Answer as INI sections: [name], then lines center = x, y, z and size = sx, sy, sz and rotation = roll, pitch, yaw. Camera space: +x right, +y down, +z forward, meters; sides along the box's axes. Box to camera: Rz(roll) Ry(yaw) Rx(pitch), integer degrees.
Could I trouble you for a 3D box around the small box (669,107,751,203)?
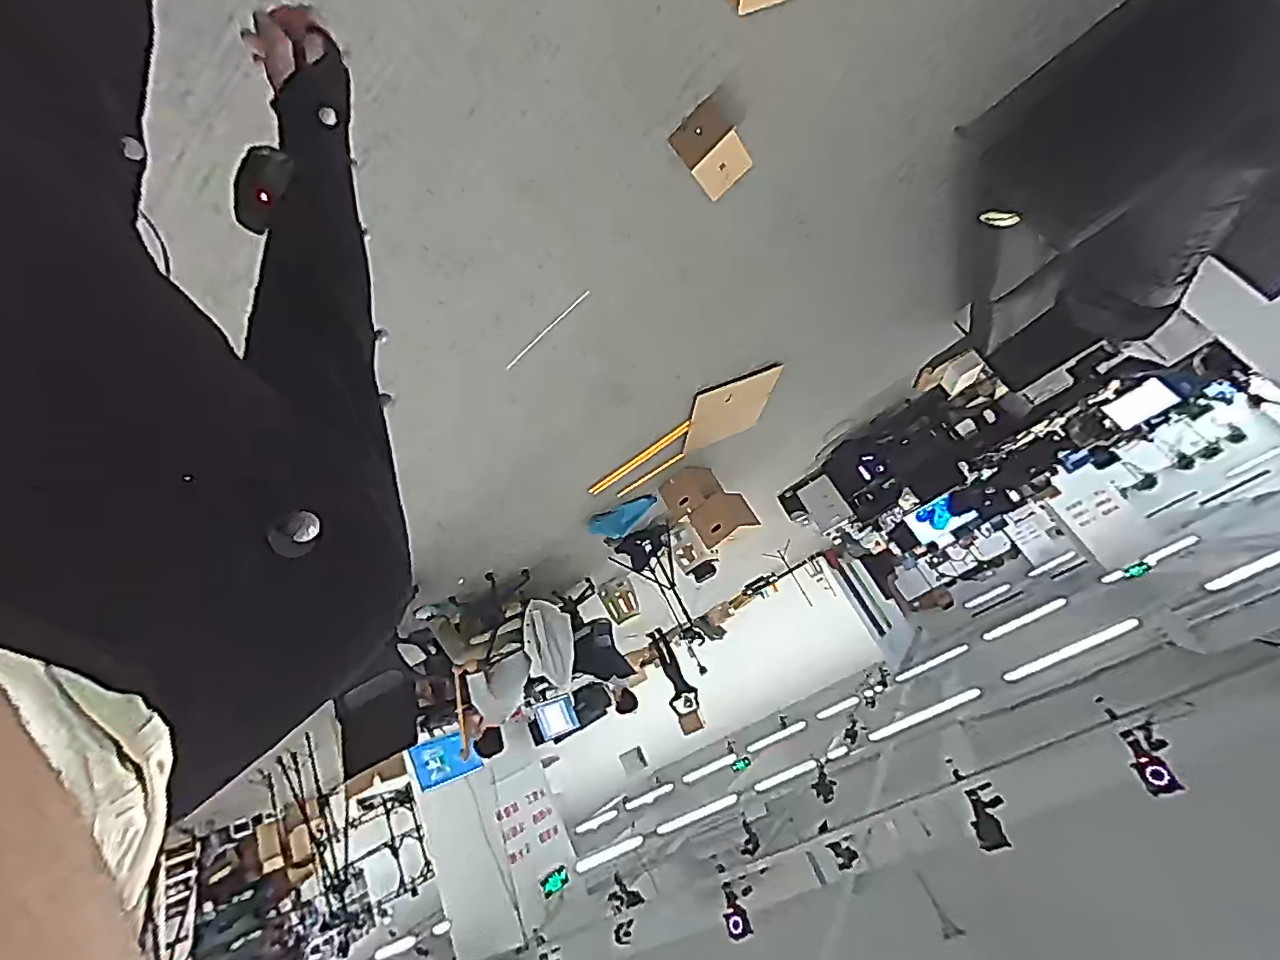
[small box]
center = 0.220, -1.041, 1.724
size = 0.168, 0.176, 0.179
rotation = -37, 156, 23
